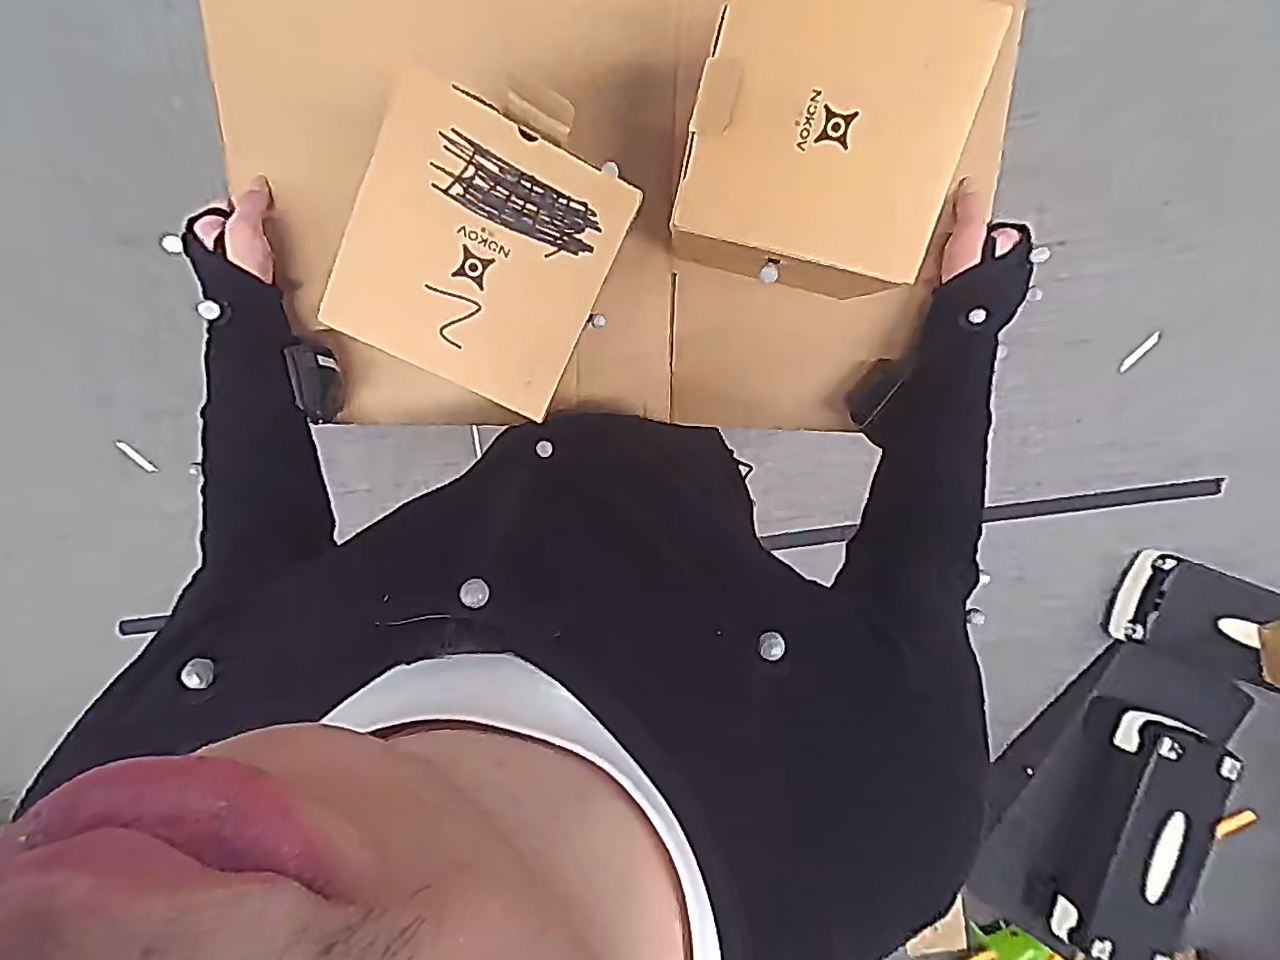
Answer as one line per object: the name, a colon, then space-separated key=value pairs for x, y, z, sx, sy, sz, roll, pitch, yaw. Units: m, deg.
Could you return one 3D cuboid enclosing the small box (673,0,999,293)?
small box: x=0.136 y=-0.257 z=0.445 sx=0.179 sy=0.176 sz=0.168 roll=15 pitch=106 yaw=4
